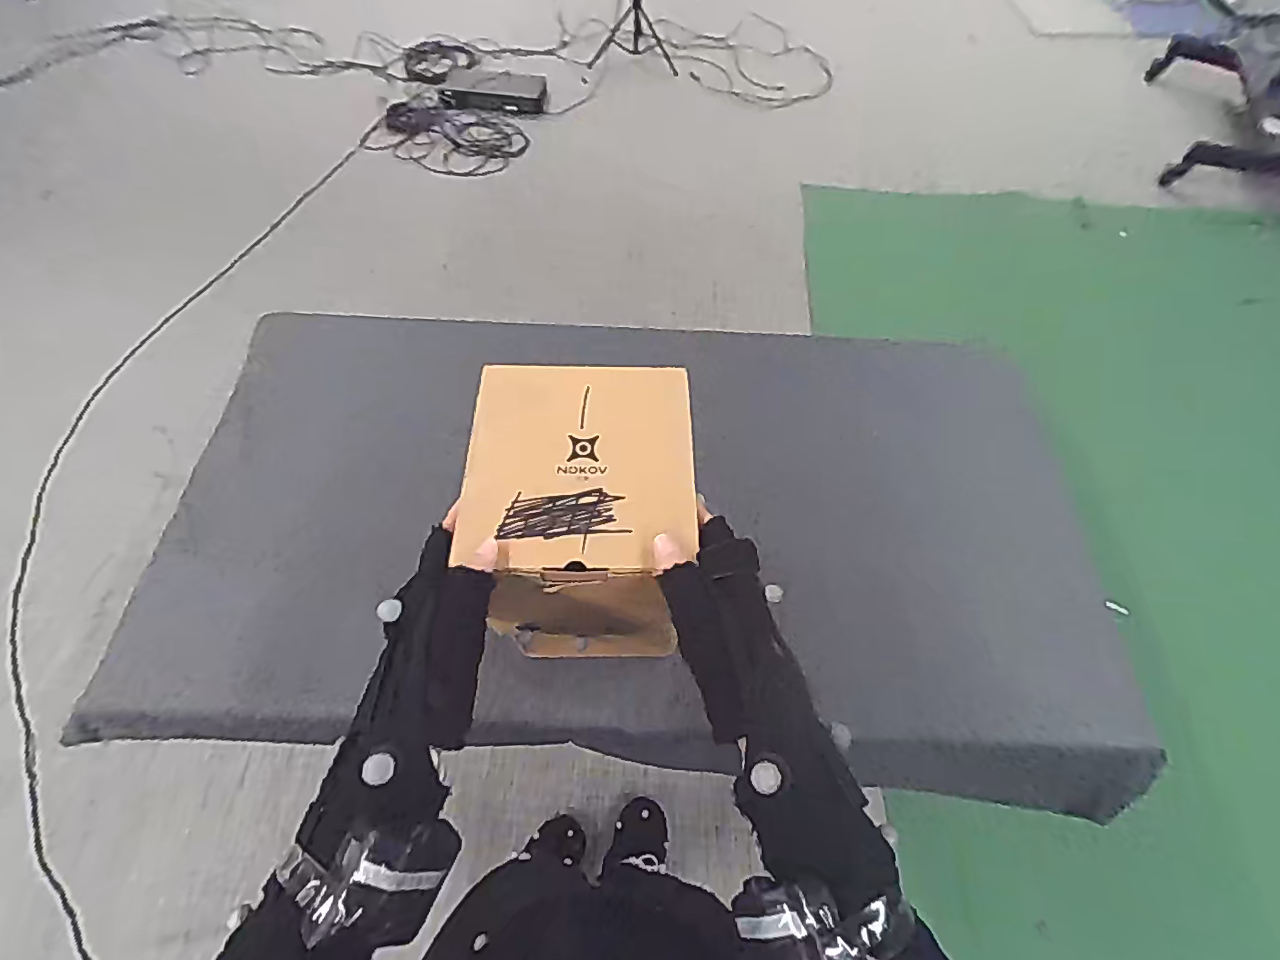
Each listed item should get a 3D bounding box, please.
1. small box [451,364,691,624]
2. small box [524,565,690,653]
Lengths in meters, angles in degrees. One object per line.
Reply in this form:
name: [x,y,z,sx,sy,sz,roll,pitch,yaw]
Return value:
small box: [-0.046,0.021,0.468,0.168,0.176,0.179,0,59,-1]
small box: [-0.044,0.093,0.619,0.179,0.176,0.168,-3,59,-3]
